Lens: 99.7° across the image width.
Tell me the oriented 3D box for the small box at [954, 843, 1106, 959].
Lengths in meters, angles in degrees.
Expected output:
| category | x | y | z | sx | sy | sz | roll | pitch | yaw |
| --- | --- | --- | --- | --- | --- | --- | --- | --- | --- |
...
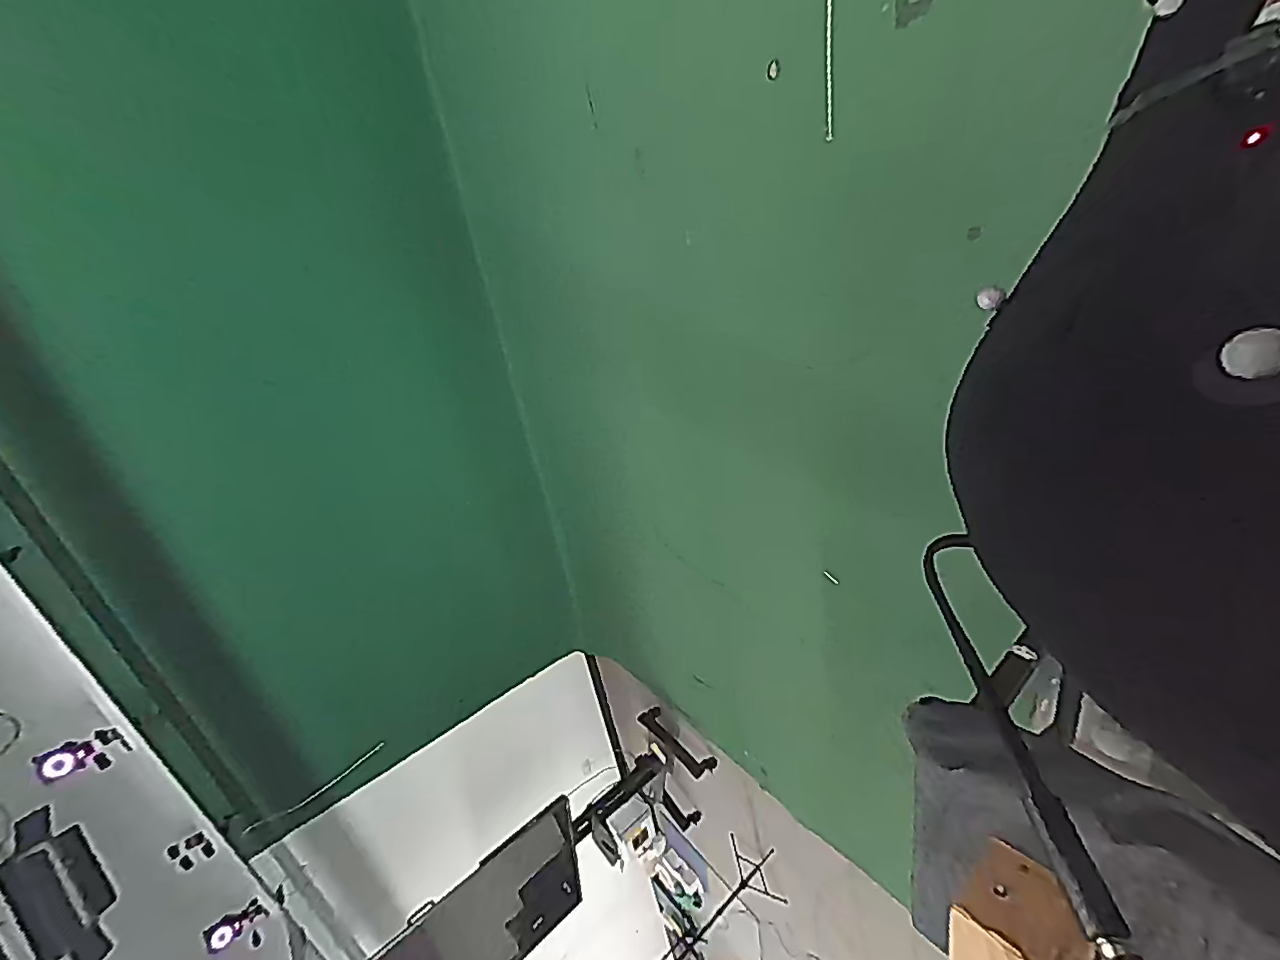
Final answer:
| category | x | y | z | sx | sy | sz | roll | pitch | yaw |
| --- | --- | --- | --- | --- | --- | --- | --- | --- | --- |
| small box | 0.660 | 0.777 | 0.921 | 0.168 | 0.176 | 0.179 | 17 | 129 | 52 |
